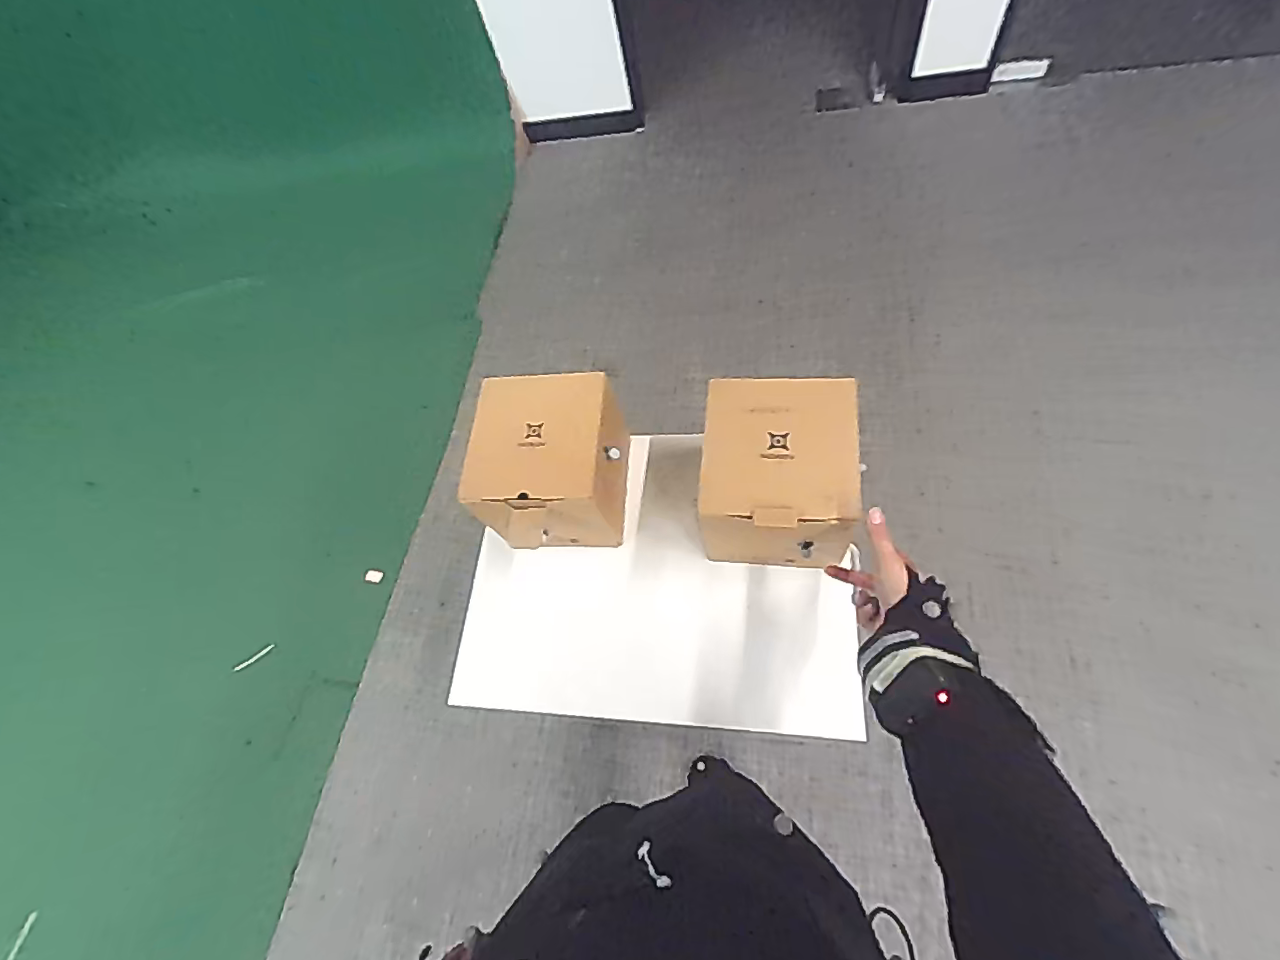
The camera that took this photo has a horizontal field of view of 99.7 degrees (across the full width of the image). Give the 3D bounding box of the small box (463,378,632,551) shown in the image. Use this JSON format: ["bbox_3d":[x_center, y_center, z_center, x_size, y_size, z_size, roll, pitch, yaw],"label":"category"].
[{"bbox_3d":[-0.108,-0.016,0.723,0.168,0.176,0.179,-1,66,11],"label":"small box"}]

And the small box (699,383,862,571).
[{"bbox_3d":[0.168,0.002,0.655,0.168,0.176,0.179,2,64,13],"label":"small box"}]
